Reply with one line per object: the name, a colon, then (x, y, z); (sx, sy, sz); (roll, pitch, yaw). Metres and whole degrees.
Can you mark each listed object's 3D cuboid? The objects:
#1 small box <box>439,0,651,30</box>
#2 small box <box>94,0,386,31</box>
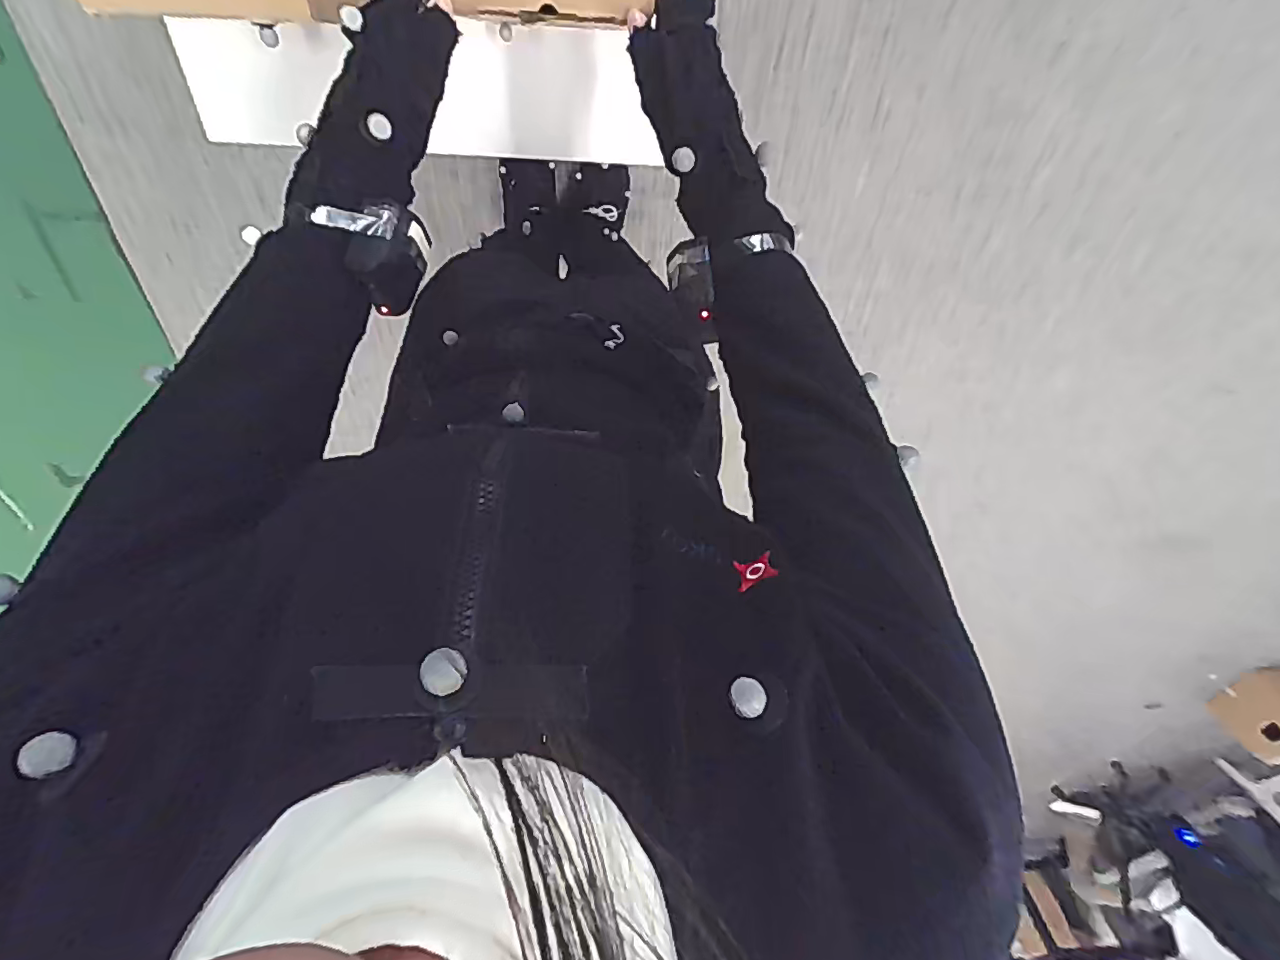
small box: (-0.071, -0.472, 0.425); (0.168, 0.176, 0.179); (0, 128, -3)
small box: (-0.325, -0.464, 0.419); (0.168, 0.176, 0.179); (-2, 130, -2)
